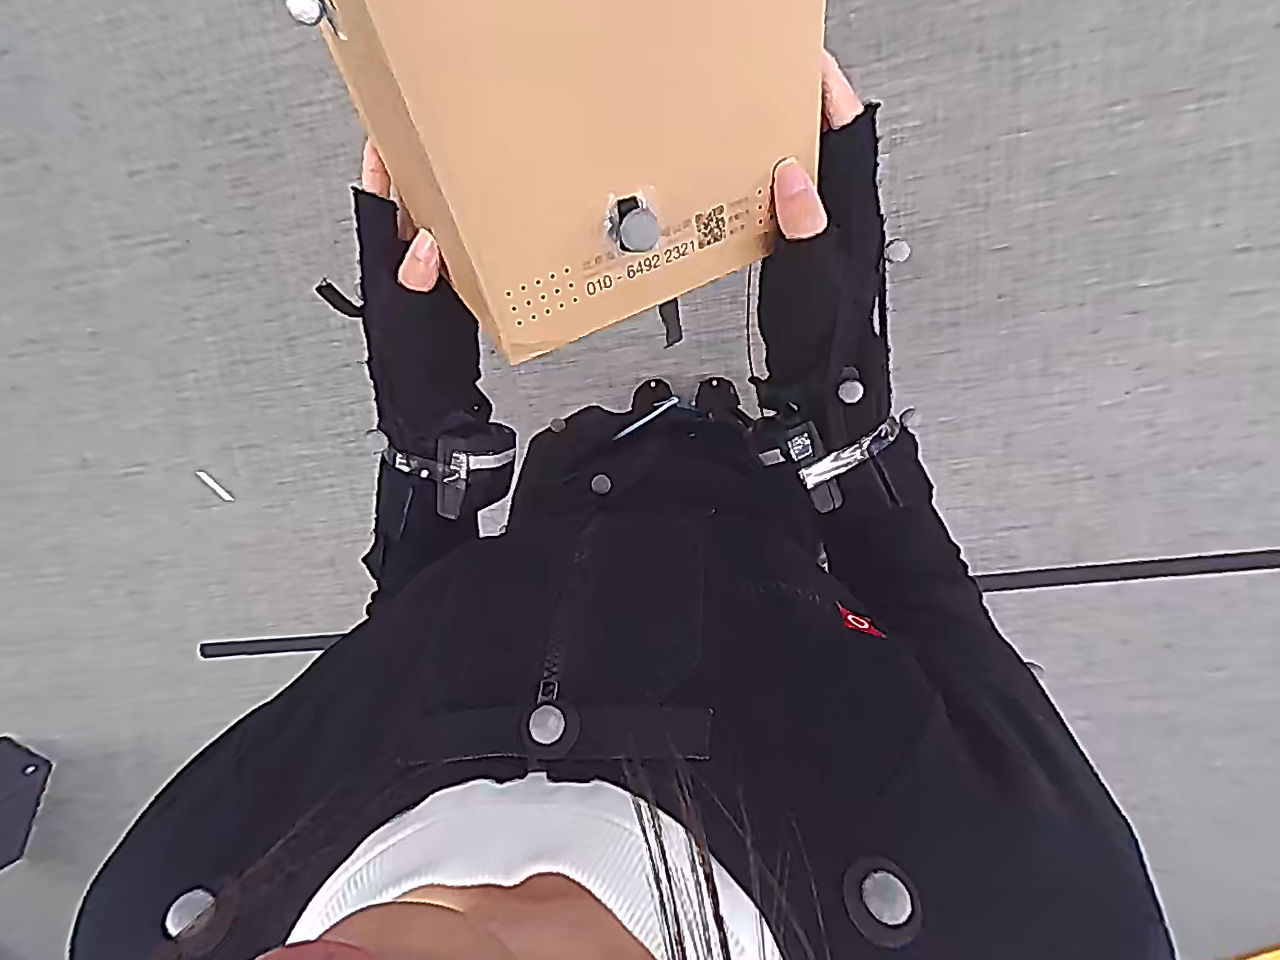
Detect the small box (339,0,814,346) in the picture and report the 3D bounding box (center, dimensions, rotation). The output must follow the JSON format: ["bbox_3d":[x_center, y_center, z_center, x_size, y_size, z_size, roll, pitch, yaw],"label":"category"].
[{"bbox_3d":[-0.035,-0.193,0.268,0.168,0.179,0.176,-28,136,-12],"label":"small box"}]
